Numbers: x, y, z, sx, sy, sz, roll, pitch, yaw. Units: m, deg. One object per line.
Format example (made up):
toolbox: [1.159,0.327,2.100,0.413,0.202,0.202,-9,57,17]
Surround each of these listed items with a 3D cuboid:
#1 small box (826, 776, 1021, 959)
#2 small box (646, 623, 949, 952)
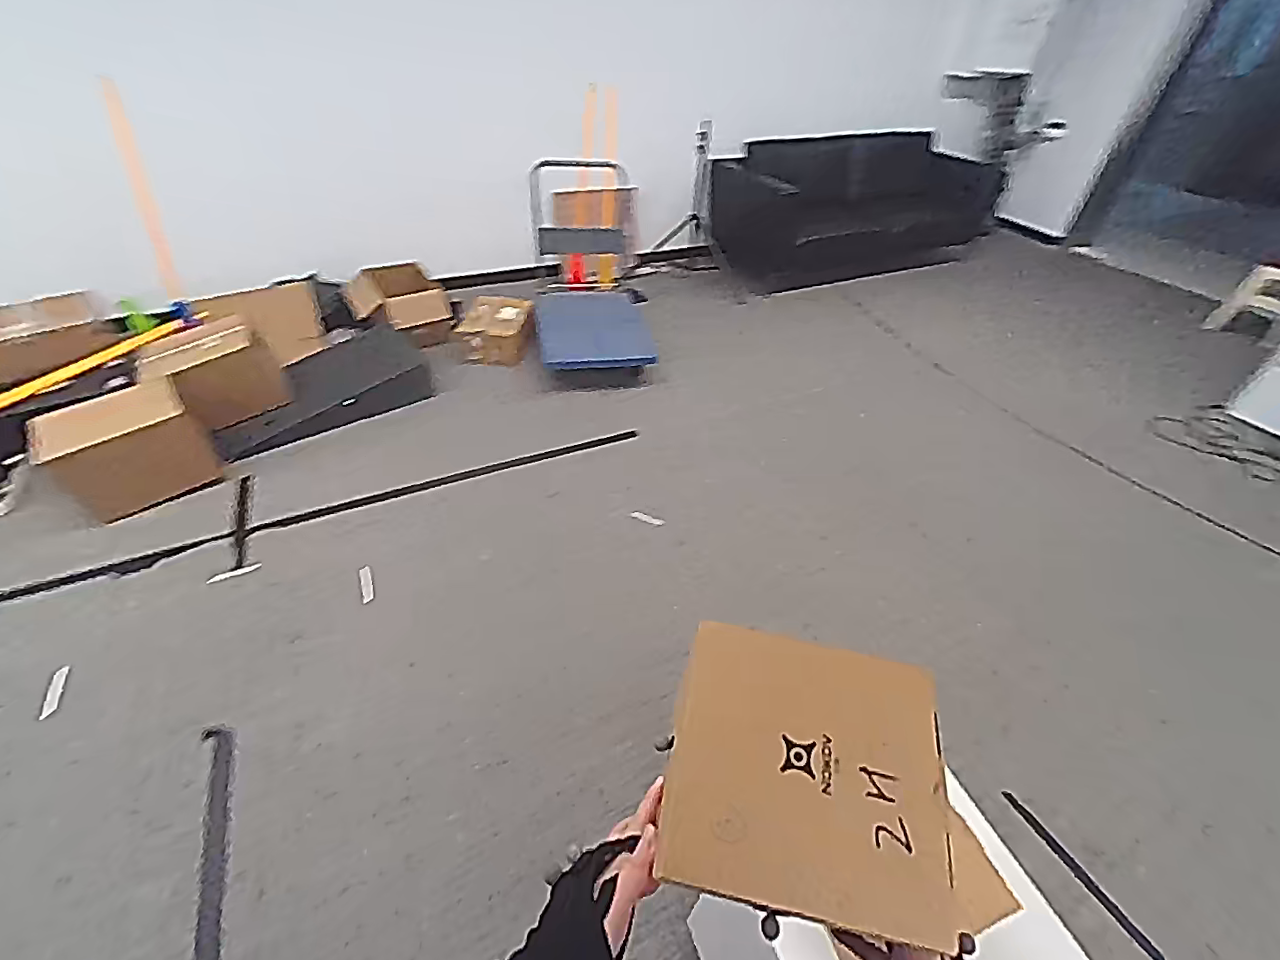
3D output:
small box: [0.332,0.520,0.712,0.179,0.176,0.168,-10,43,-17]
small box: [0.104,0.234,0.423,0.179,0.176,0.168,10,55,5]
